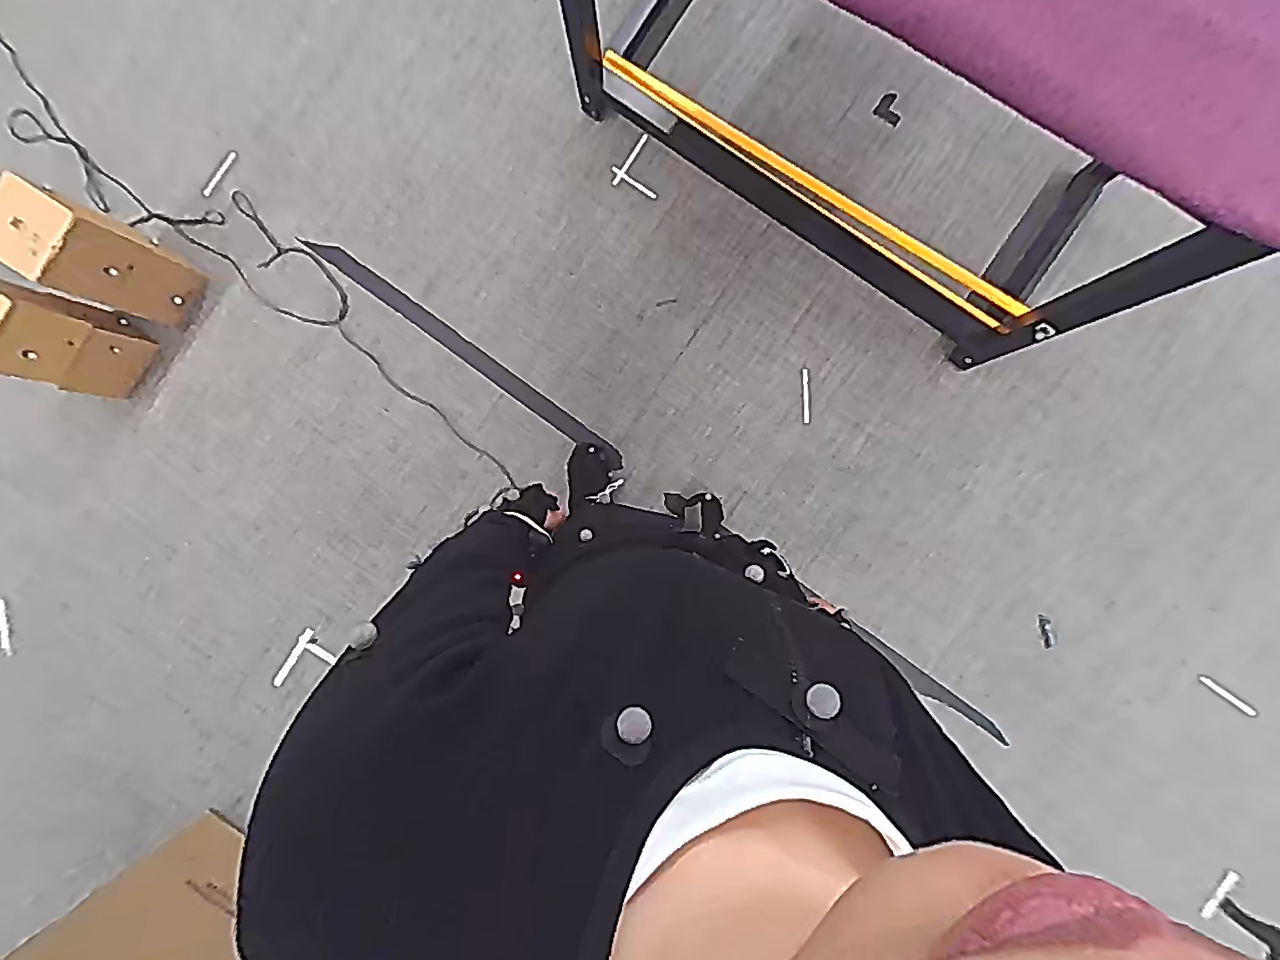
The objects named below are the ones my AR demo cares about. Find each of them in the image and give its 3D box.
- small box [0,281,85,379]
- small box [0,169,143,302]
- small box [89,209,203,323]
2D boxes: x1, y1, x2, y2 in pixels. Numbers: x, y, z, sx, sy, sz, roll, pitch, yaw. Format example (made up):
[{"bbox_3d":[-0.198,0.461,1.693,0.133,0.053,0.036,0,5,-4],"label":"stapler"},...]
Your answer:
[{"bbox_3d":[-1.386,-0.333,1.171,0.179,0.176,0.168,30,91,2],"label":"small box"},{"bbox_3d":[-1.253,-0.514,1.164,0.179,0.176,0.168,33,91,0],"label":"small box"},{"bbox_3d":[-1.250,-0.514,1.329,0.179,0.176,0.168,35,91,0],"label":"small box"}]
